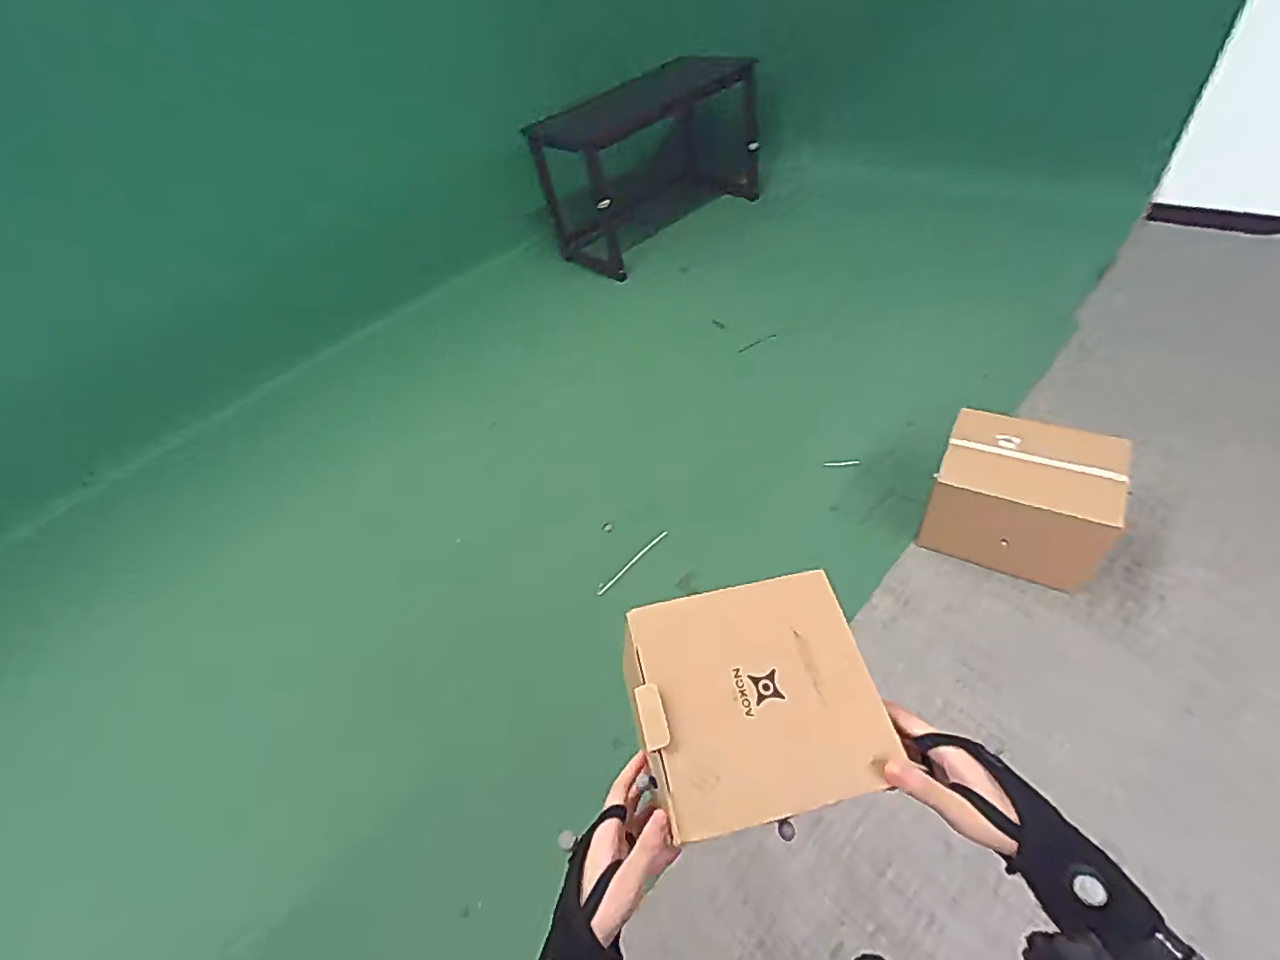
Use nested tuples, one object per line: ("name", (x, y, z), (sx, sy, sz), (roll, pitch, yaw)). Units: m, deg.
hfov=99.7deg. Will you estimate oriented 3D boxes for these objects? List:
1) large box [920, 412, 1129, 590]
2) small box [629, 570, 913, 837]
("large box", (1.064, 0.053, 1.528), (0.408, 0.320, 0.320), (17, 55, 29))
("small box", (0.090, 0.200, 0.473), (0.179, 0.176, 0.168), (-9, 58, -8))
